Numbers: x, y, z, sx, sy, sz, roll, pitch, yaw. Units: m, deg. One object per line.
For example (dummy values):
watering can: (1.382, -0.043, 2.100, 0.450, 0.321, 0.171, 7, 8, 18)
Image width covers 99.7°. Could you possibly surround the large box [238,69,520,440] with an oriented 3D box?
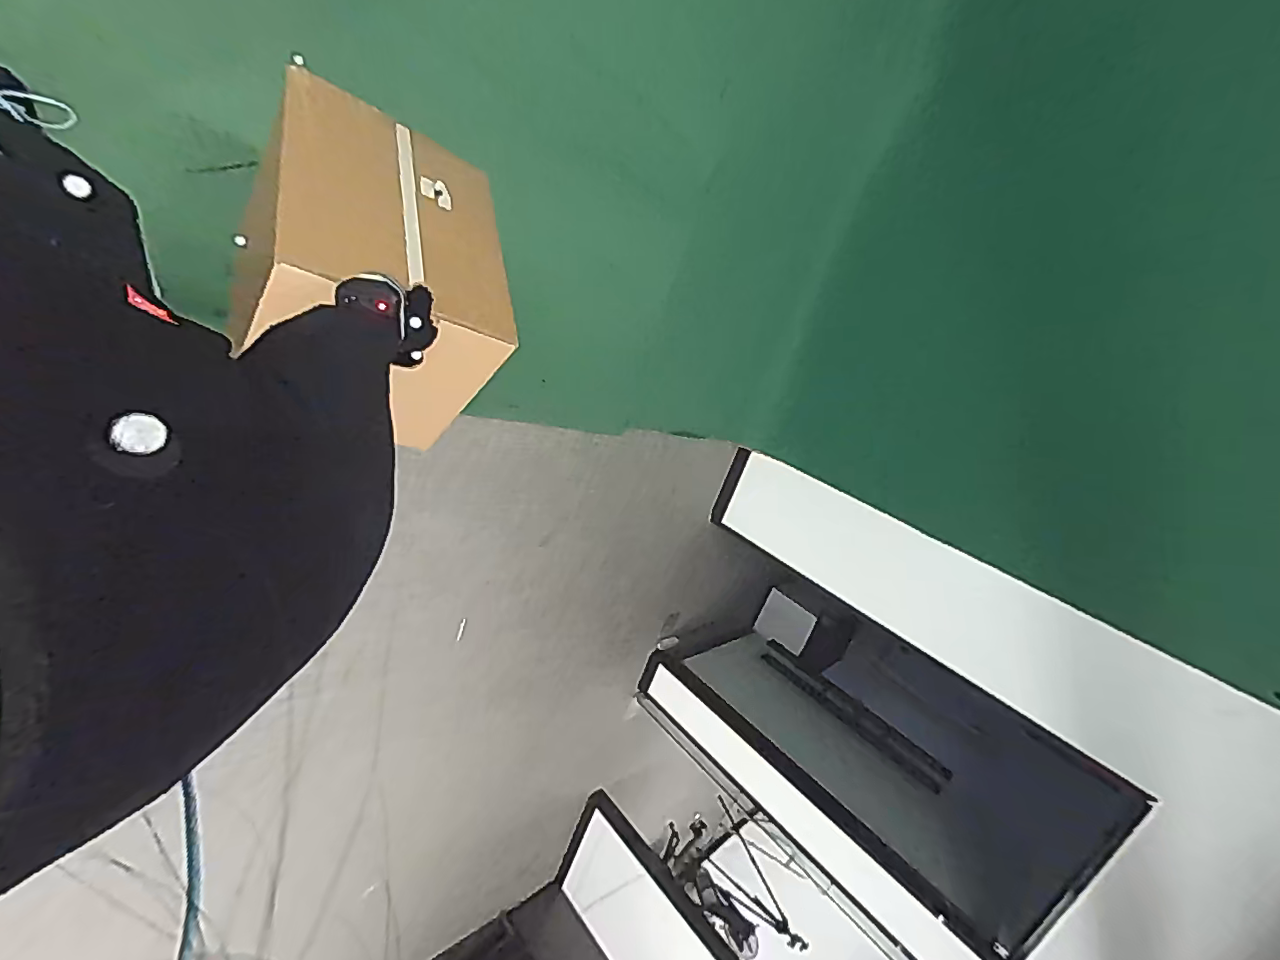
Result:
large box: (-0.434, -0.327, 0.882, 0.320, 0.408, 0.320, 11, 144, -44)
